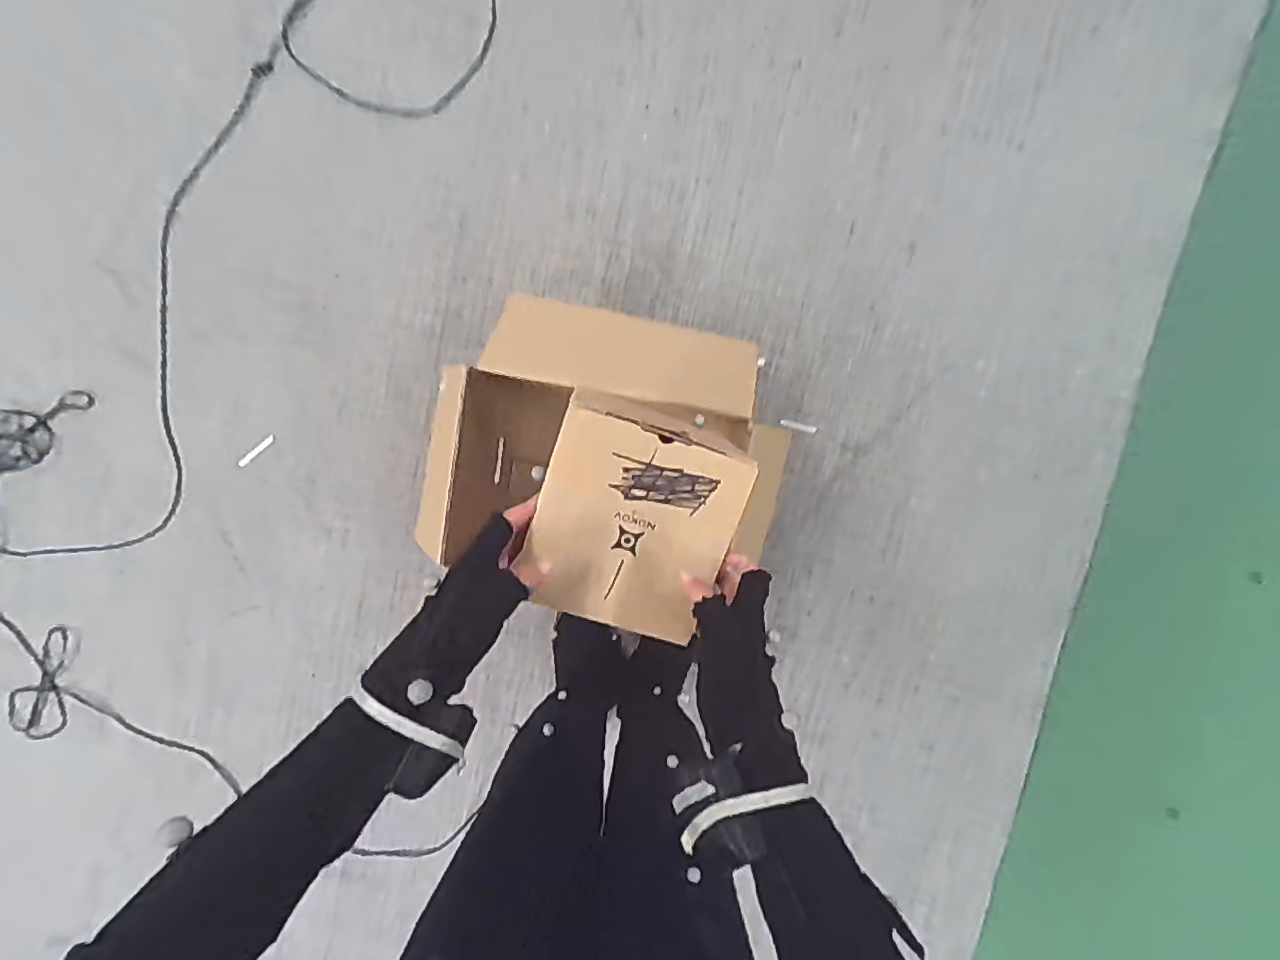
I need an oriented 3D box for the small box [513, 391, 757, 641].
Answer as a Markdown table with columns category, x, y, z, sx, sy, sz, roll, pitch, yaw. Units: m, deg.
| category | x | y | z | sx | sy | sz | roll | pitch | yaw |
| --- | --- | --- | --- | --- | --- | --- | --- | --- | --- |
| small box | -0.012 | 0.021 | 0.530 | 0.168 | 0.176 | 0.179 | 17 | 103 | -9 |
